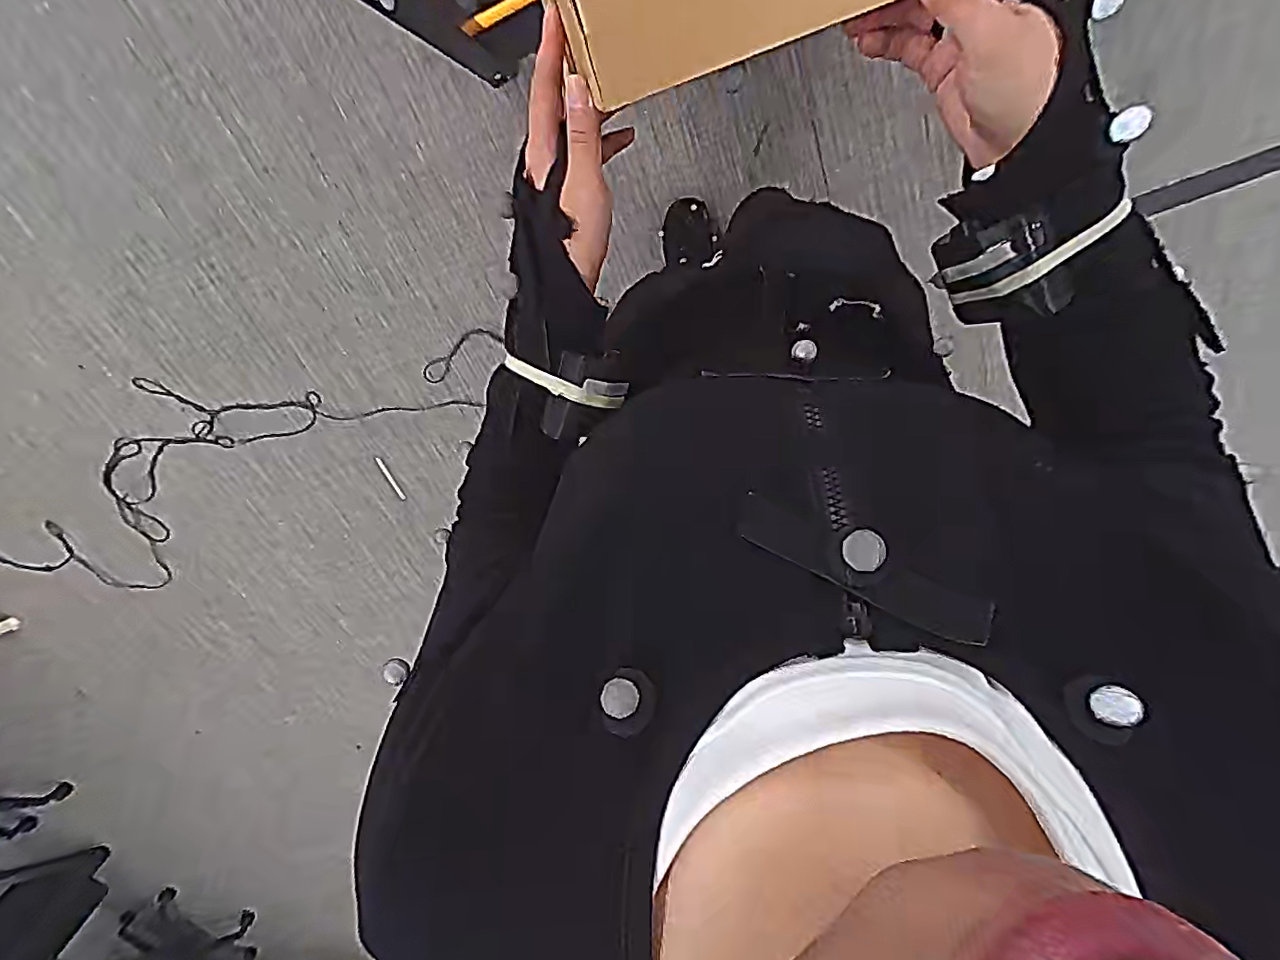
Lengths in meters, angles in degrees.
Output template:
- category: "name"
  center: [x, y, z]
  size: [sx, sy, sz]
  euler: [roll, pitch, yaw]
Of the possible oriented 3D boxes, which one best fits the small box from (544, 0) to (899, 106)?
- category: "small box"
  center: [0.026, -0.319, 0.272]
  size: [0.179, 0.176, 0.168]
  euler: [-19, 131, 2]
